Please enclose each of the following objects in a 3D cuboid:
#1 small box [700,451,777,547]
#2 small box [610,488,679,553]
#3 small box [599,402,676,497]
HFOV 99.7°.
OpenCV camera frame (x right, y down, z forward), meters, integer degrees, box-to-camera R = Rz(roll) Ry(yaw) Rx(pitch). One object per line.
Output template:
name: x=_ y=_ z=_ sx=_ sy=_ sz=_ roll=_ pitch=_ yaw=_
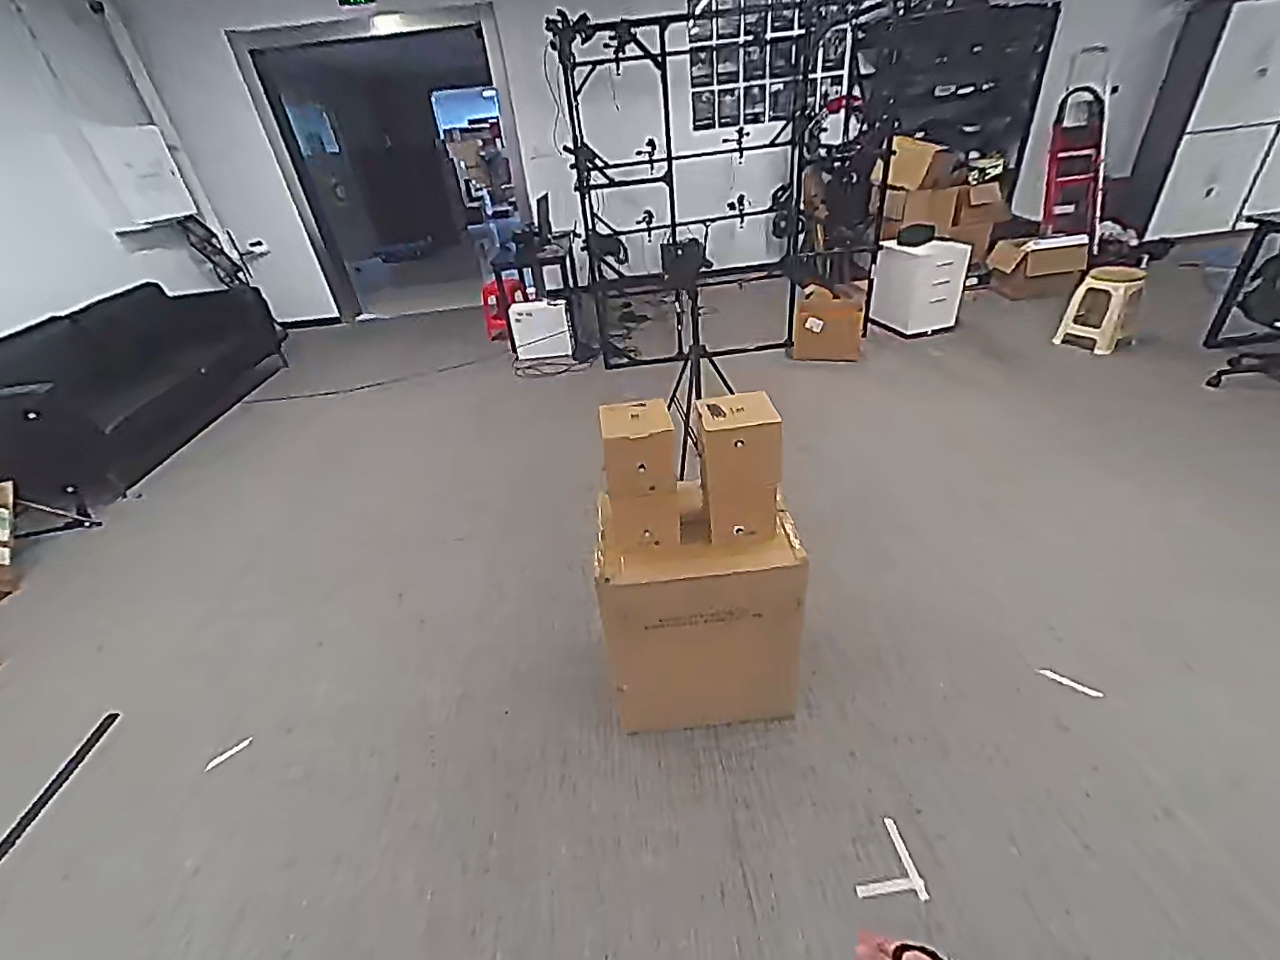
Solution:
small box: x=0.252 y=0.048 z=1.400 sx=0.168 sy=0.176 sz=0.179 roll=-9 pitch=34 yaw=2
small box: x=0.009 y=0.068 z=1.412 sx=0.168 sy=0.176 sz=0.179 roll=-7 pitch=33 yaw=-1
small box: x=-0.007 y=-0.070 z=1.324 sx=0.168 sy=0.176 sz=0.179 roll=-8 pitch=34 yaw=-2
